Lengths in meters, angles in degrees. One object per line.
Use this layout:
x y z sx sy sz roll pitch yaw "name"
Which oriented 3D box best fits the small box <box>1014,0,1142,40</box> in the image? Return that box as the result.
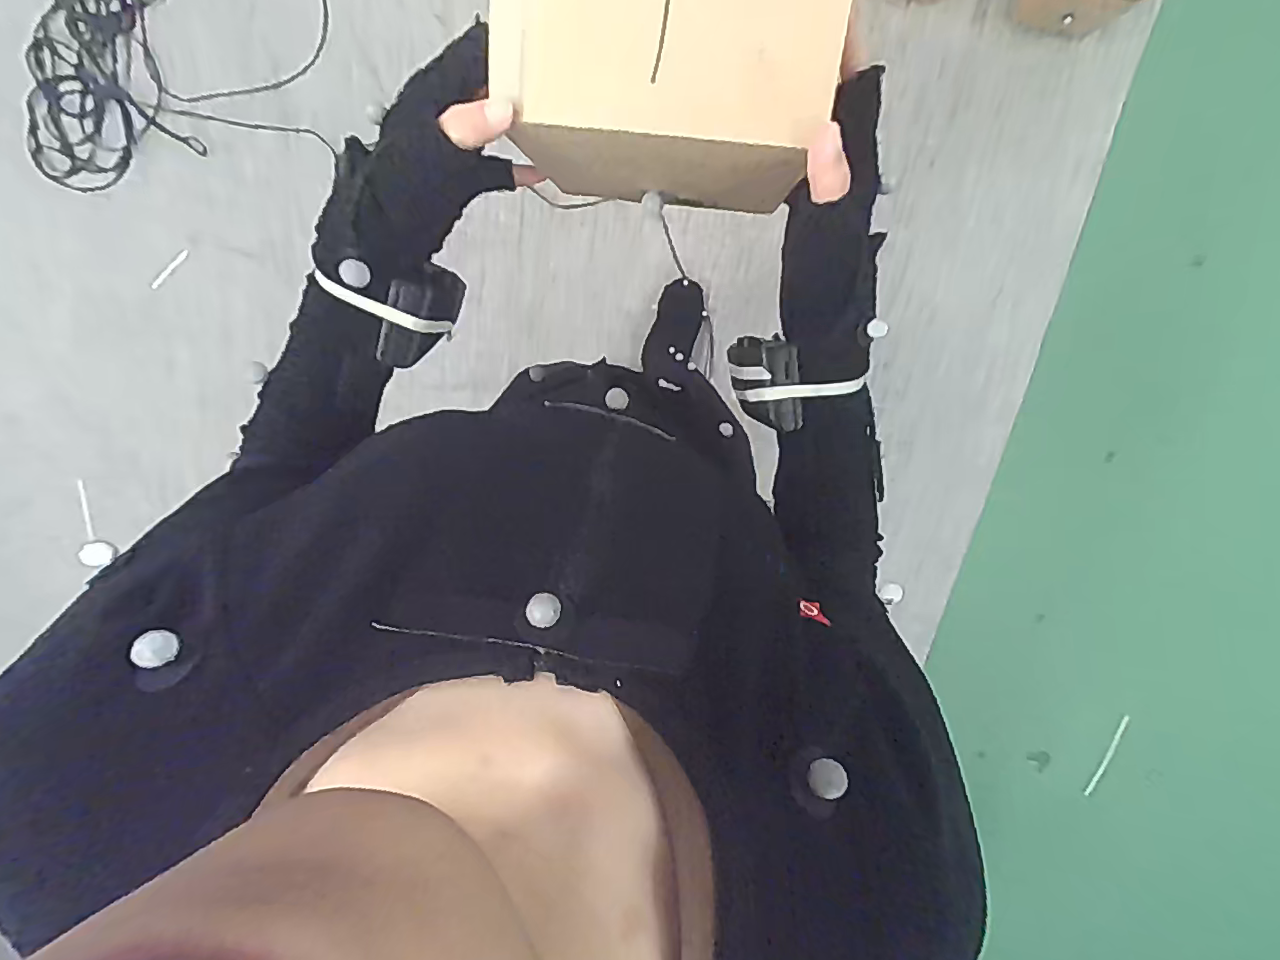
0.898 -1.029 1.082 0.168 0.176 0.179 9 107 -2 "small box"
